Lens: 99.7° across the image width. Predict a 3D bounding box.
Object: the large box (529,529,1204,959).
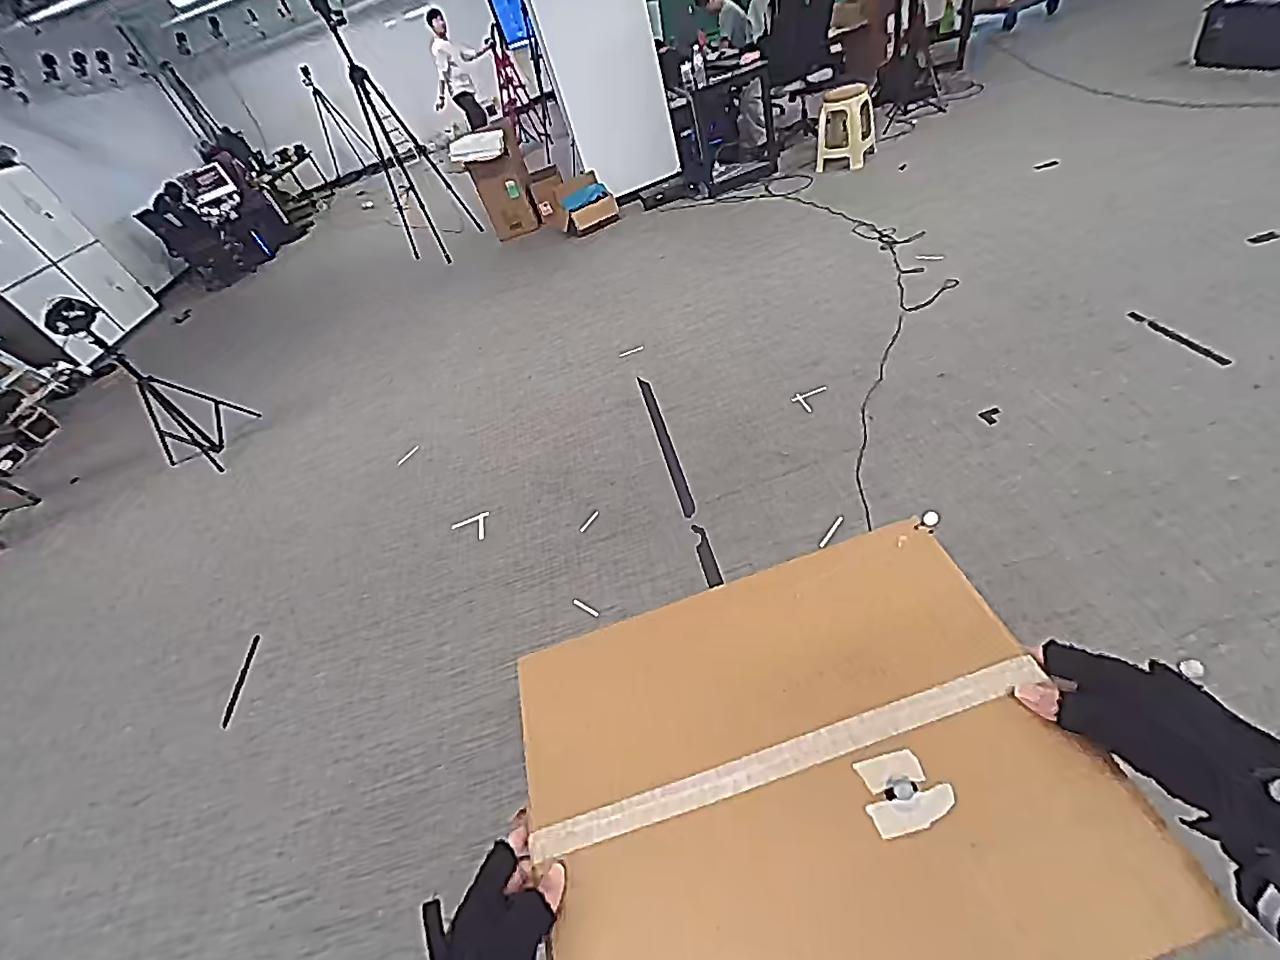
[{"bbox_3d":[0.149,0.315,0.529,0.408,0.320,0.320,-20,48,0],"label":"large box"}]
